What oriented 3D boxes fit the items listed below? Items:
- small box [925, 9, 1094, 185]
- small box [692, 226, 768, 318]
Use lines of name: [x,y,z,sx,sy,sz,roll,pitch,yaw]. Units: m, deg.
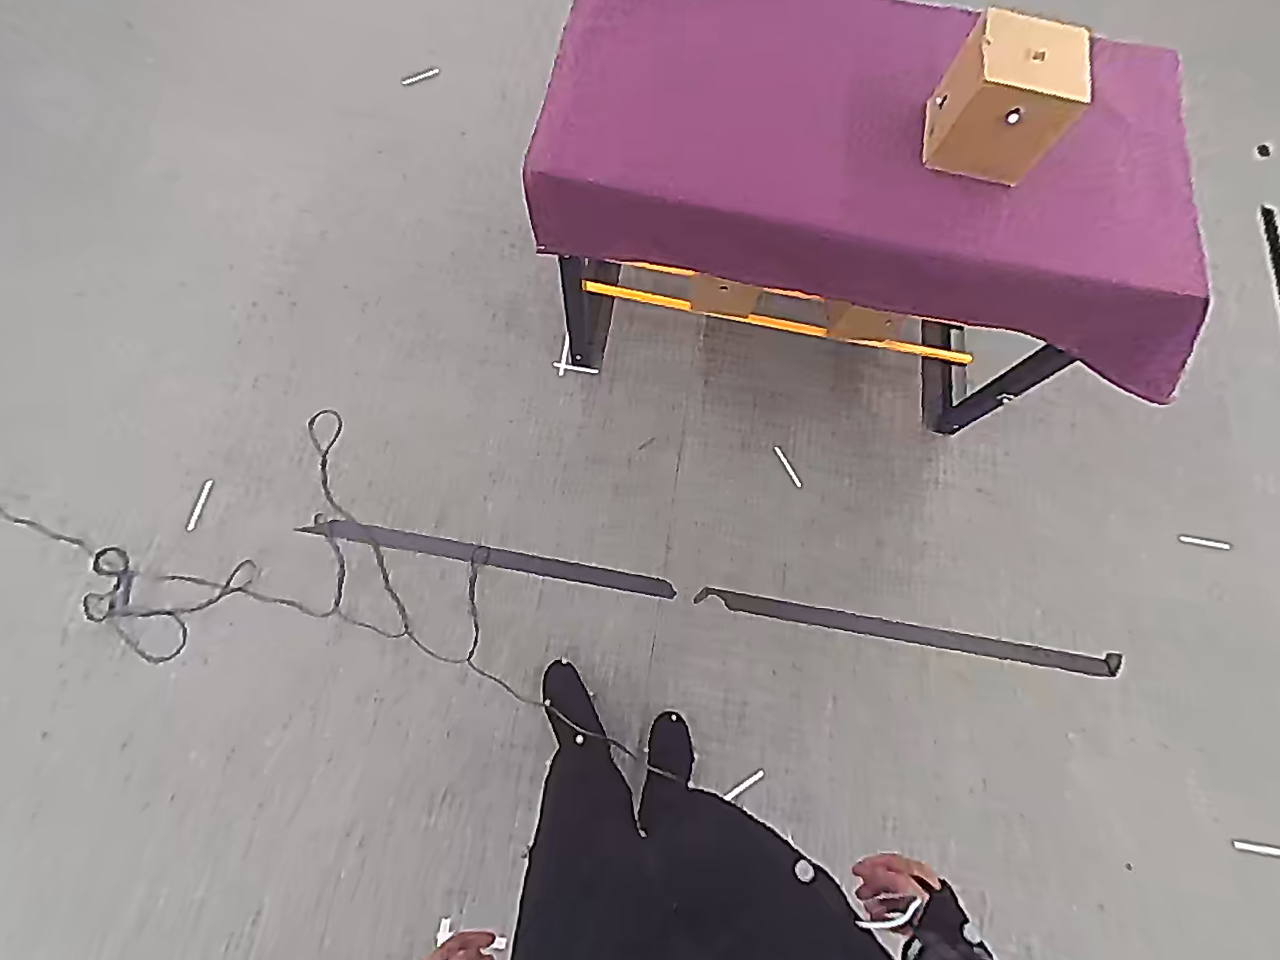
small box: [0.628,-0.646,0.931,0.179,0.176,0.168,12,74,1]
small box: [0.249,-0.581,1.527,0.179,0.176,0.168,8,73,-3]
